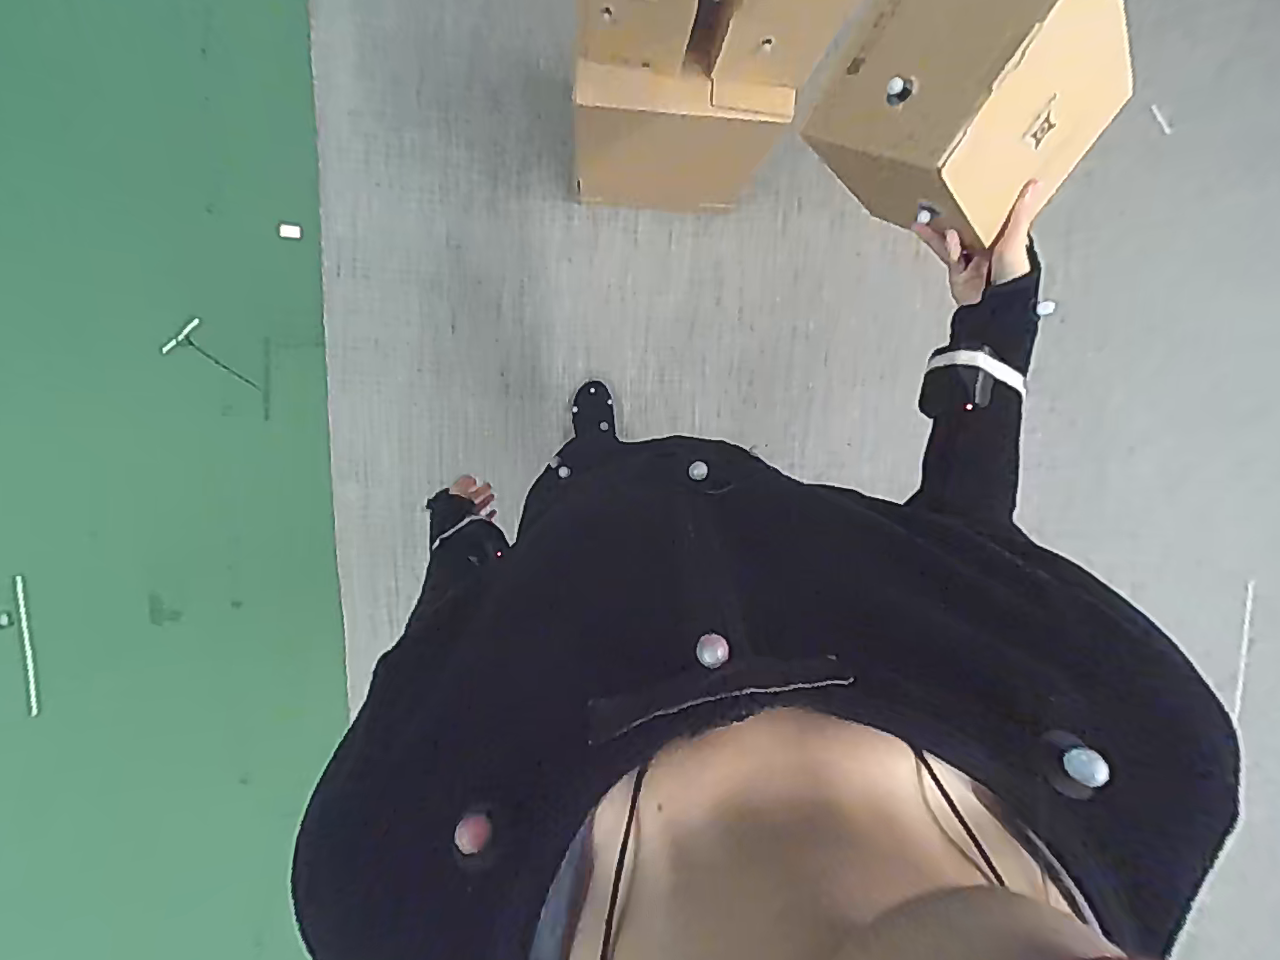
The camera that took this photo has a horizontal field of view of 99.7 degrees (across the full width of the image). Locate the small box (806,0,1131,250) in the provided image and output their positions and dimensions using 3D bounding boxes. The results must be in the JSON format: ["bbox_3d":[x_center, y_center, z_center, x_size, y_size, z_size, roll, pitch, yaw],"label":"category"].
[{"bbox_3d":[0.289,-0.348,0.497,0.179,0.176,0.168,12,120,-42],"label":"small box"}]
